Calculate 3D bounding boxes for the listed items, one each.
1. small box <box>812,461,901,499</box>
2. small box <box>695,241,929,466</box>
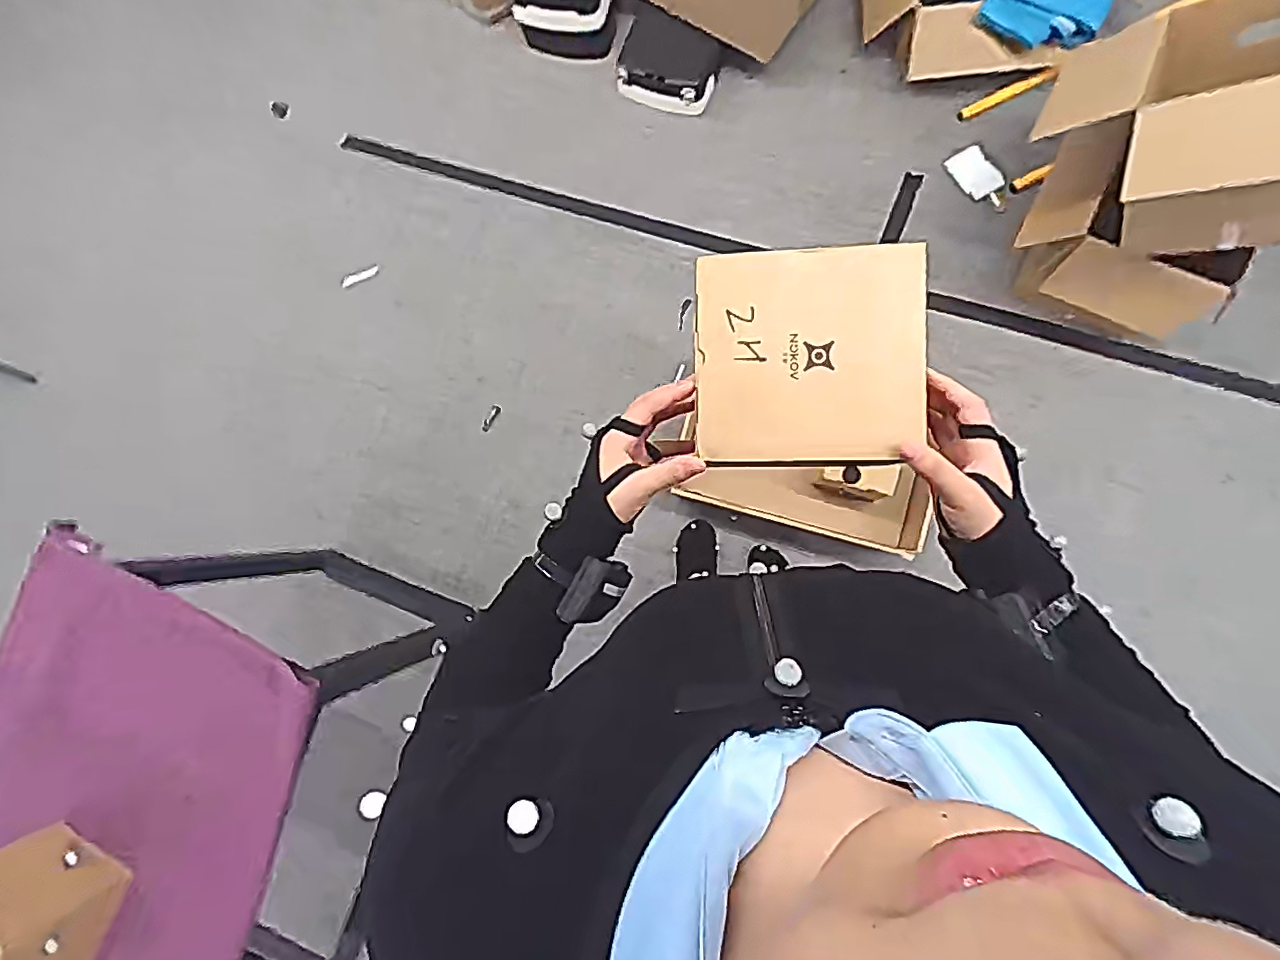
[{"bbox_3d":[0.543,-0.059,1.353,0.168,0.176,0.179,16,87,9],"label":"small box"},{"bbox_3d":[0.140,-0.098,0.494,0.179,0.176,0.168,-1,90,8],"label":"small box"}]
